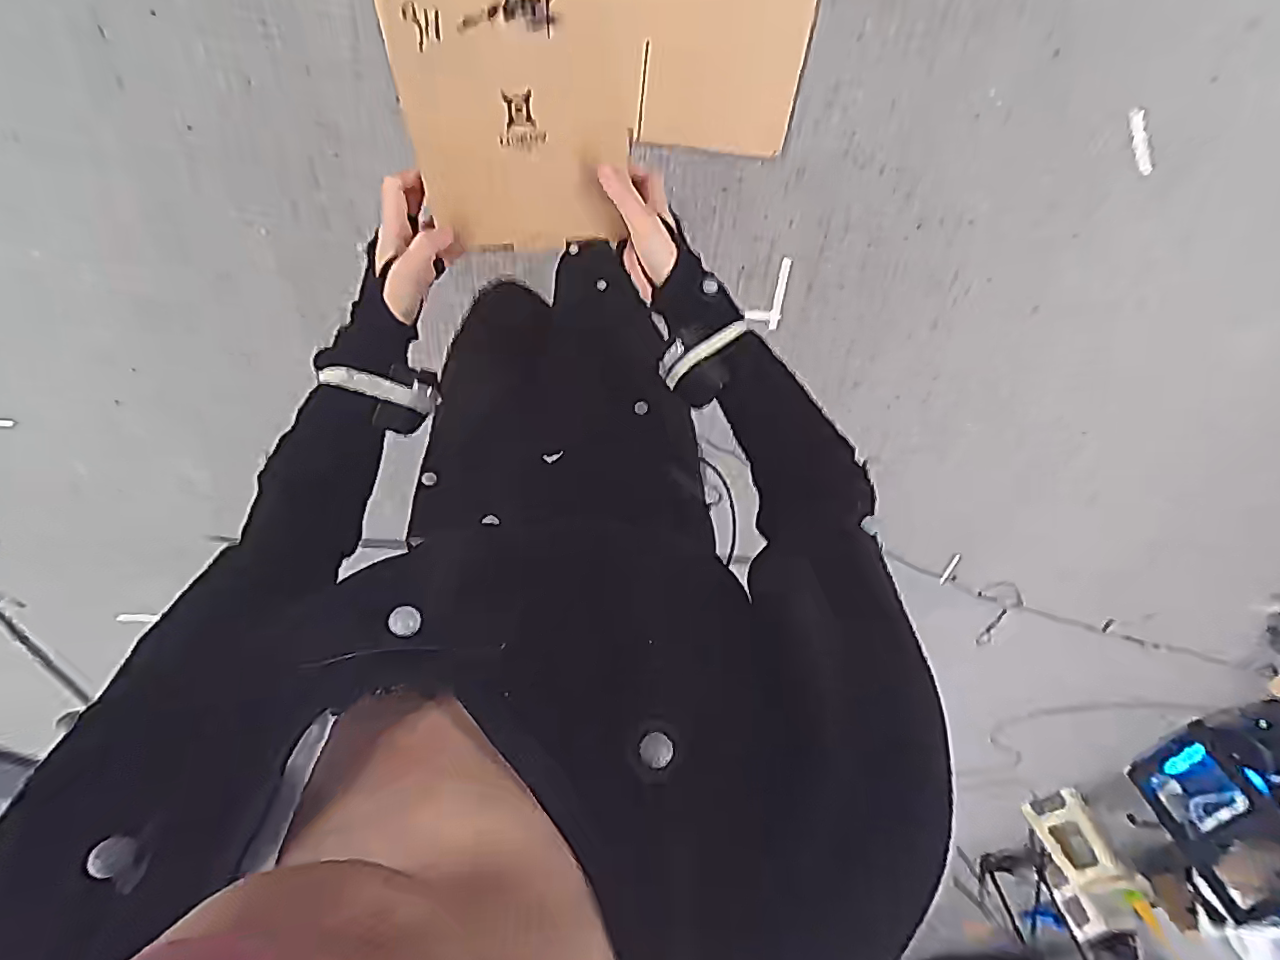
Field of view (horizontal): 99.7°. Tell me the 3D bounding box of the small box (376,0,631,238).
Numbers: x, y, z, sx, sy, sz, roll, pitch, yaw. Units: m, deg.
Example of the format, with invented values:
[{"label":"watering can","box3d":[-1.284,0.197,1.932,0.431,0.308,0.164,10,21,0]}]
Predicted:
[{"label":"small box","box3d":[-0.102,-0.326,0.464,0.168,0.176,0.179,-8,127,-5]}]
